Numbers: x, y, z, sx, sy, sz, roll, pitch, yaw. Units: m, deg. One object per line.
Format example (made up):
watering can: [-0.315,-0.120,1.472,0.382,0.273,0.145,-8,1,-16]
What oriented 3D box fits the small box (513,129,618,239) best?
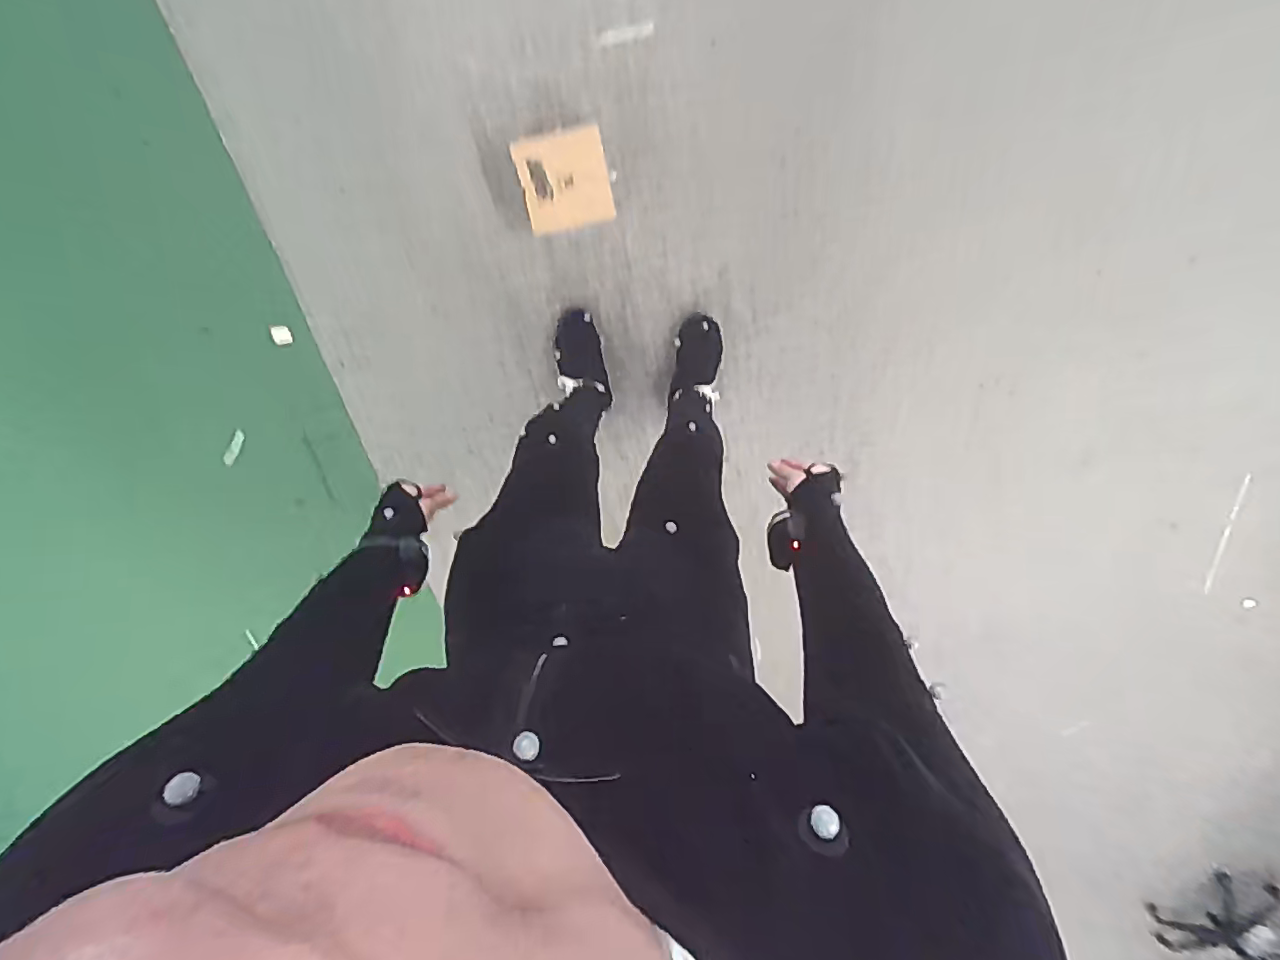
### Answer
small box: [-0.147,-0.613,1.133,0.179,0.176,0.168,-12,118,3]
